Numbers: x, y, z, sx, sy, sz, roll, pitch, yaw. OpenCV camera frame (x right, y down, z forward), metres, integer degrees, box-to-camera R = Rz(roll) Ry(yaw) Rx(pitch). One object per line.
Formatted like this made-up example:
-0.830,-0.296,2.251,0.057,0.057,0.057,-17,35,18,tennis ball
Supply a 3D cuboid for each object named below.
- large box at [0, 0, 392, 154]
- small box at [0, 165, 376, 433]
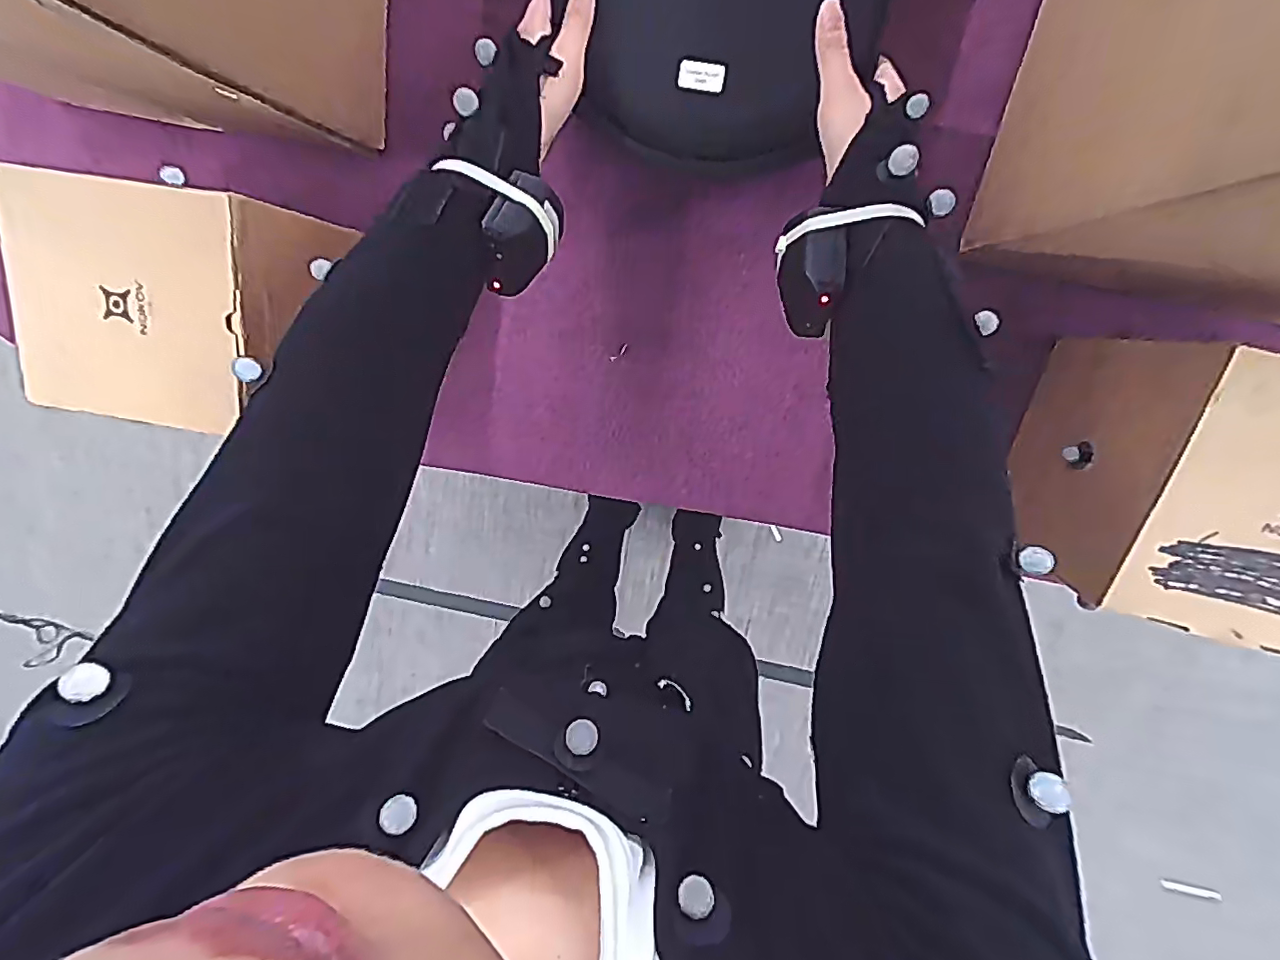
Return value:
-0.360,-0.461,0.298,0.320,0.320,0.408,10,109,2,large box
-0.358,-0.145,0.463,0.179,0.176,0.168,9,106,3,small box
